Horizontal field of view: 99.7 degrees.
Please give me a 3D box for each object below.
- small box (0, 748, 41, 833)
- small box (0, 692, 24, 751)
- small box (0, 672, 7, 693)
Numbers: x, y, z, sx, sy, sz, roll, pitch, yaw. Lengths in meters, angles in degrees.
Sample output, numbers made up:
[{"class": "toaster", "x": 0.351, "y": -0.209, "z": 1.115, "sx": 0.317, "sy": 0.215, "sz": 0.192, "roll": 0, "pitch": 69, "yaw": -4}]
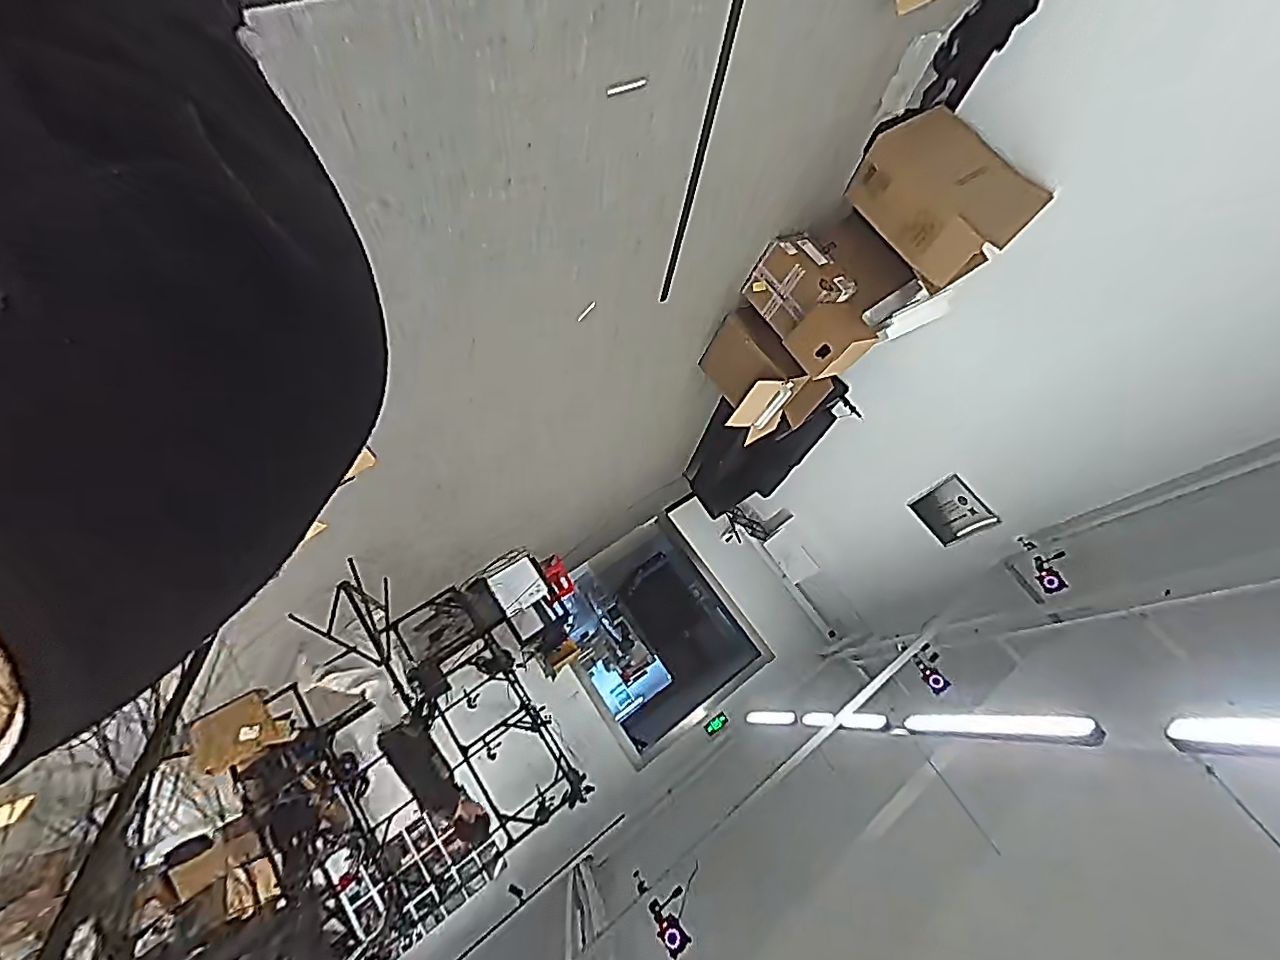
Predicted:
[{"class": "small box", "x": -1.708, "y": 0.821, "z": 1.391, "sx": 0.179, "sy": 0.176, "sz": 0.168, "roll": -43, "pitch": 164, "yaw": 21}, {"class": "small box", "x": -1.803, "y": 0.697, "z": 1.437, "sx": 0.179, "sy": 0.176, "sz": 0.168, "roll": -42, "pitch": 165, "yaw": 20}, {"class": "small box", "x": -1.897, "y": 0.569, "z": 1.478, "sx": 0.179, "sy": 0.176, "sz": 0.168, "roll": -43, "pitch": 164, "yaw": 20}]
